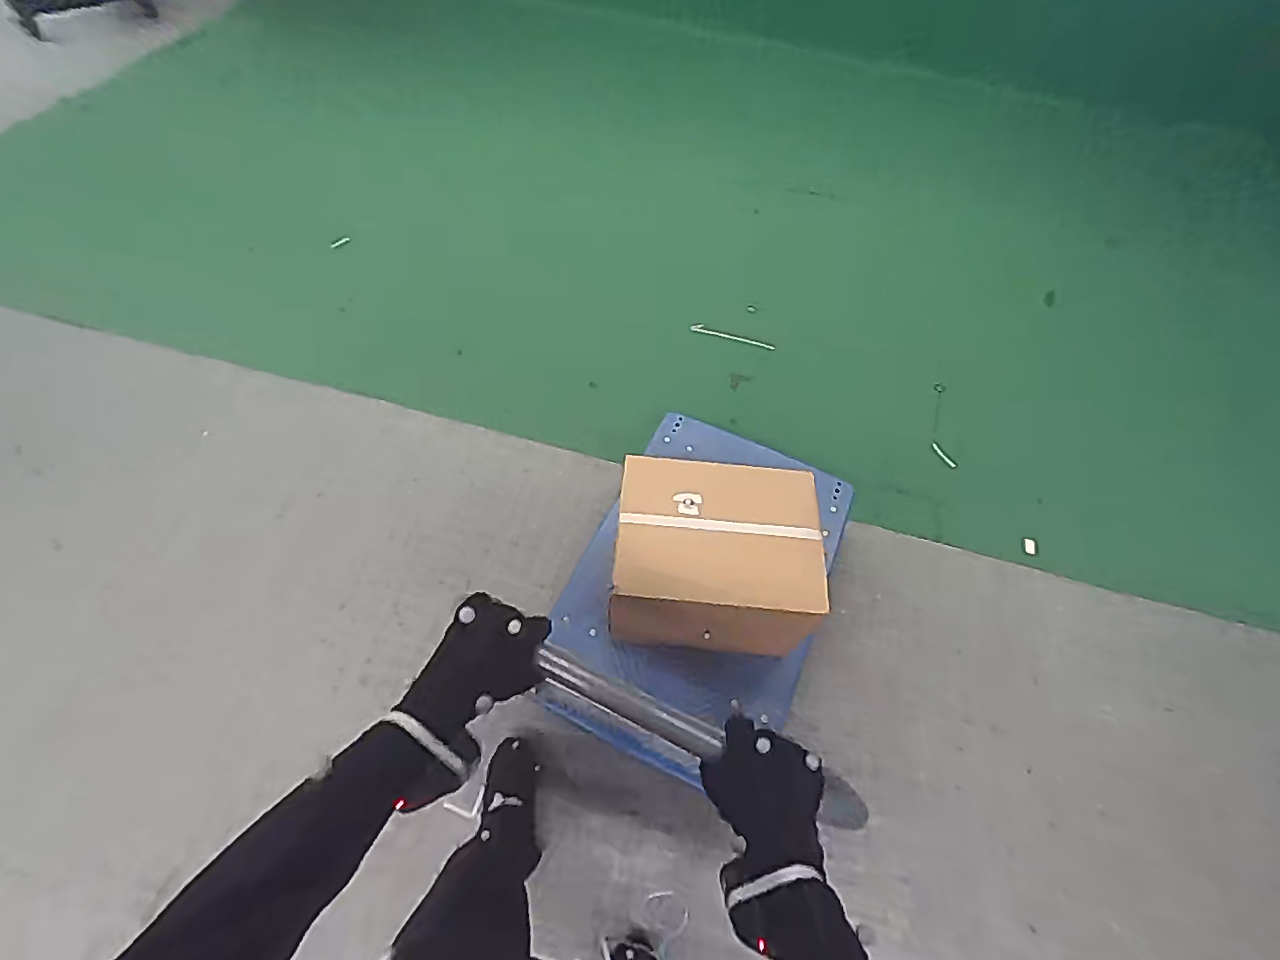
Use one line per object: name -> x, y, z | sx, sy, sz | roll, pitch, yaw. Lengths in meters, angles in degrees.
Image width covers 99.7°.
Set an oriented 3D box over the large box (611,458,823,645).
large box -> 0.150, 0.171, 1.210 | 0.408, 0.320, 0.320 | 5, 58, 1
